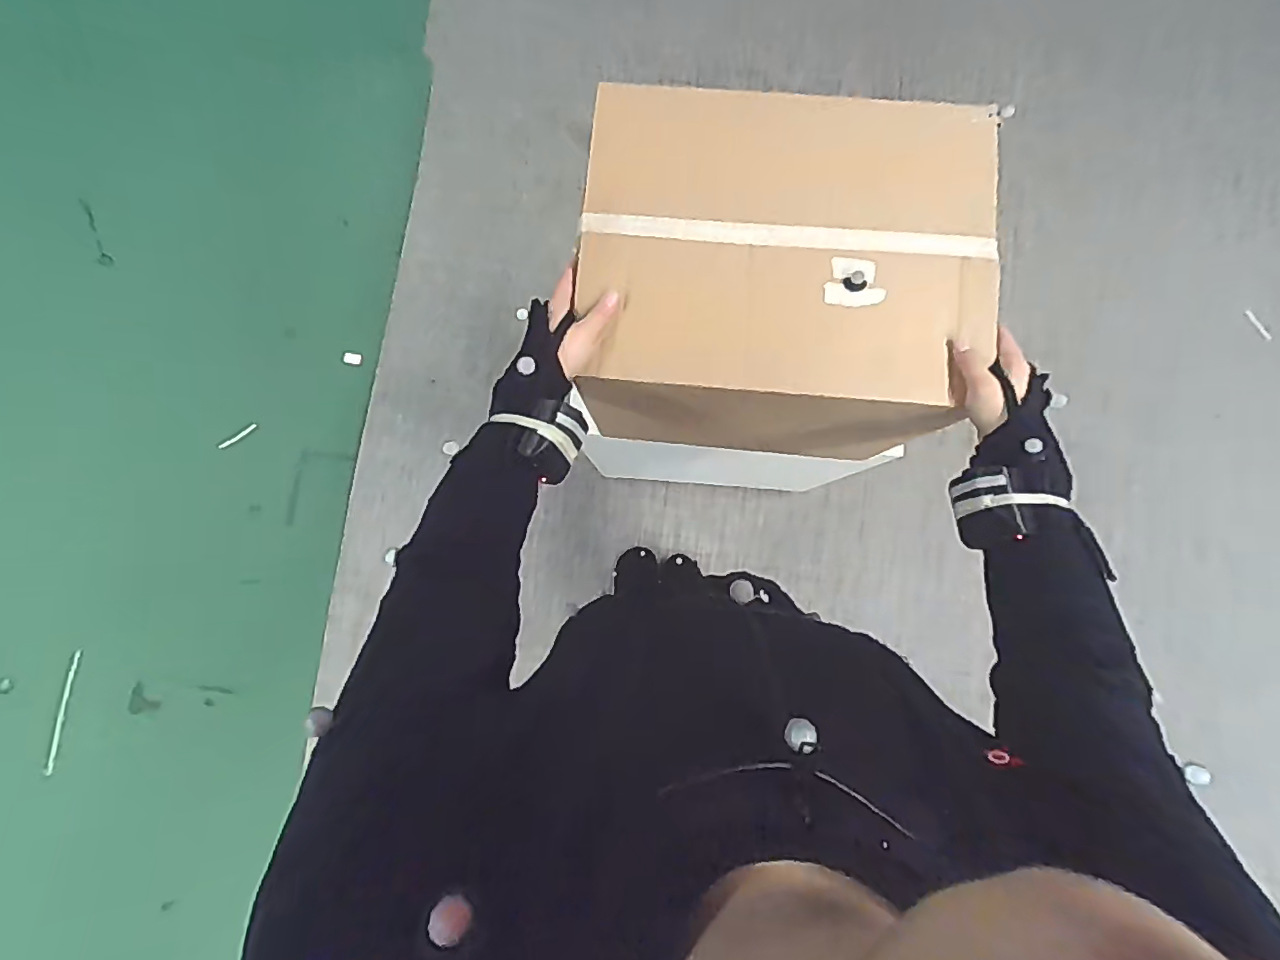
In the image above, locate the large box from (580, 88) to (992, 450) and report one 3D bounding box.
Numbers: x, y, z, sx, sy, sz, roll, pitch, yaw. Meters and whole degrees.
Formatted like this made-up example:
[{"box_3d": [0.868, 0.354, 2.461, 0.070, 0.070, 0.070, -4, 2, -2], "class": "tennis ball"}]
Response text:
[{"box_3d": [0.148, -0.225, 0.685, 0.408, 0.320, 0.320, 5, 84, 1], "class": "large box"}]
